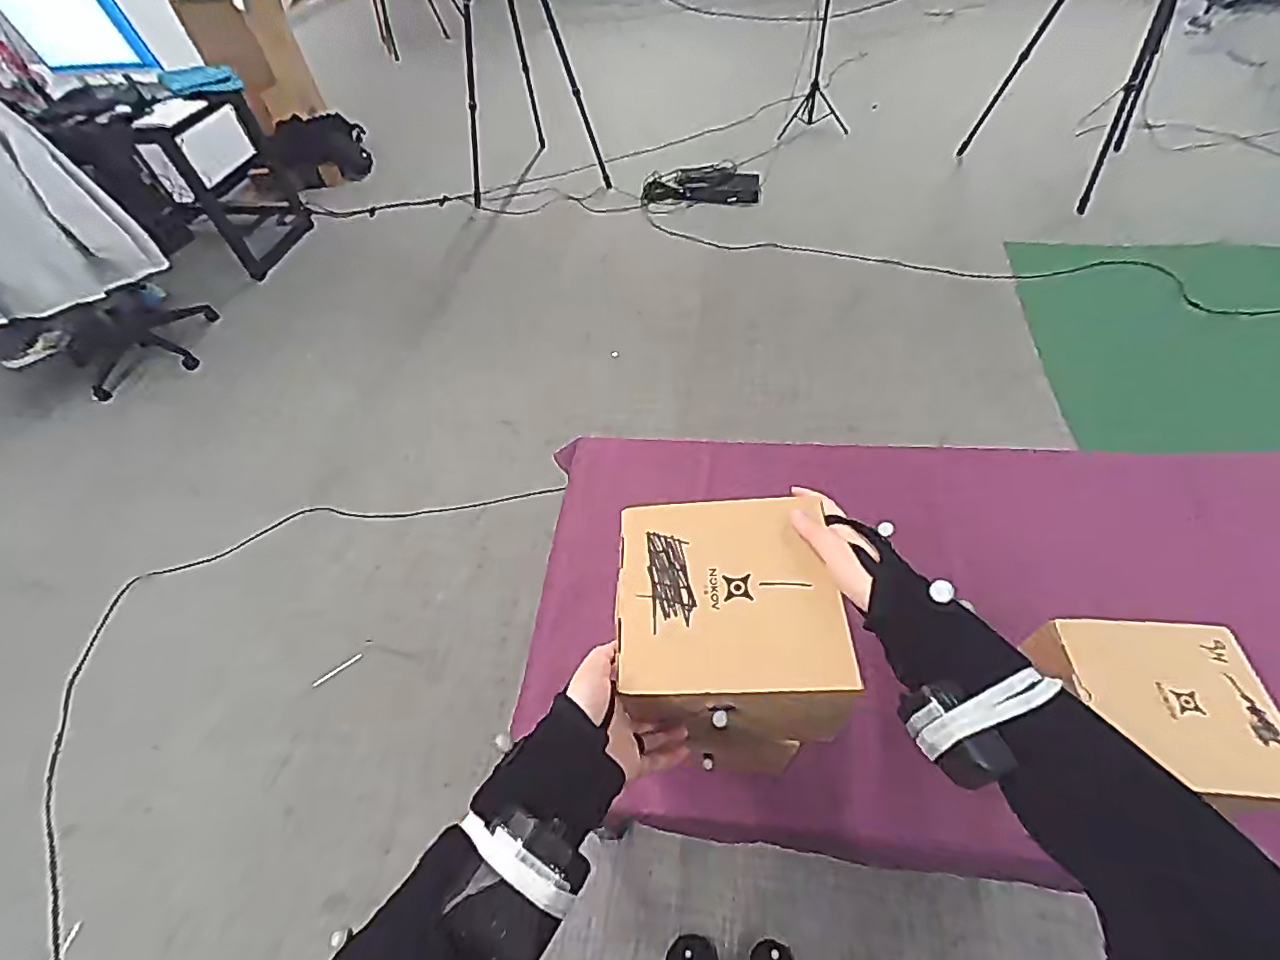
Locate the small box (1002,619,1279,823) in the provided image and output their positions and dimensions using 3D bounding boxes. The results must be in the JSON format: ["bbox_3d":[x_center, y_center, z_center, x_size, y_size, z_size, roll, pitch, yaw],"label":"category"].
[{"bbox_3d":[0.534,0.267,0.594,0.179,0.176,0.168,1,52,8],"label":"small box"}]

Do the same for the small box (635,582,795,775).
[{"bbox_3d":[0.092,0.245,0.659,0.168,0.176,0.179,2,52,7],"label":"small box"}]
